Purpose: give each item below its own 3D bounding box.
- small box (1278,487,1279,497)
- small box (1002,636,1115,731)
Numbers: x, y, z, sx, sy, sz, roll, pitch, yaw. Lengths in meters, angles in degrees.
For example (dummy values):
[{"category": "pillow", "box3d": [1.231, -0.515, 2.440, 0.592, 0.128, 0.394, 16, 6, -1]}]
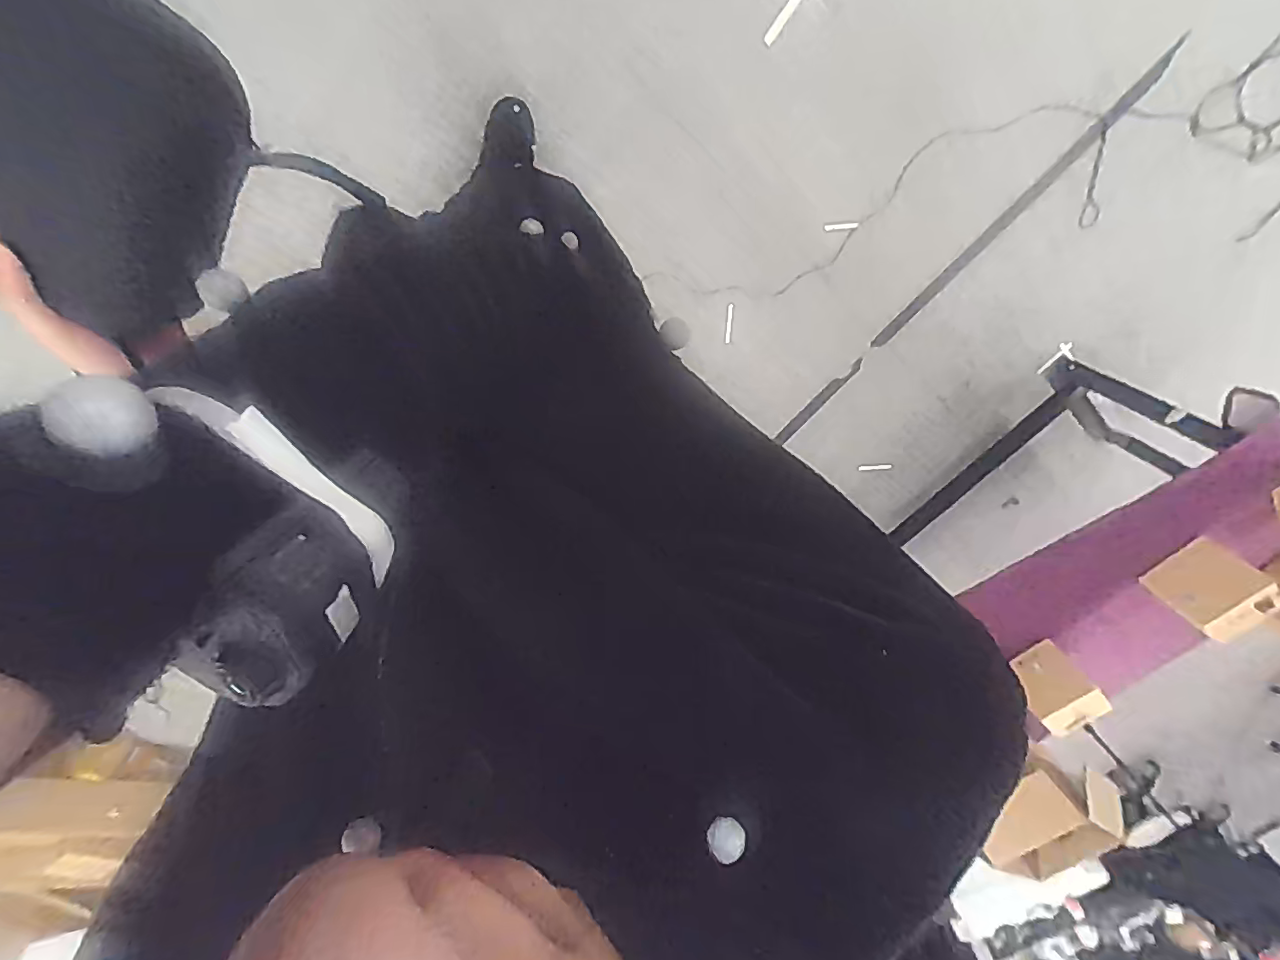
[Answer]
[{"category": "small box", "box3d": [1.689, 0.035, 1.272, 0.168, 0.176, 0.179, 32, 114, -30]}, {"category": "small box", "box3d": [1.179, 0.572, 1.531, 0.168, 0.176, 0.179, -42, 122, 16]}]
